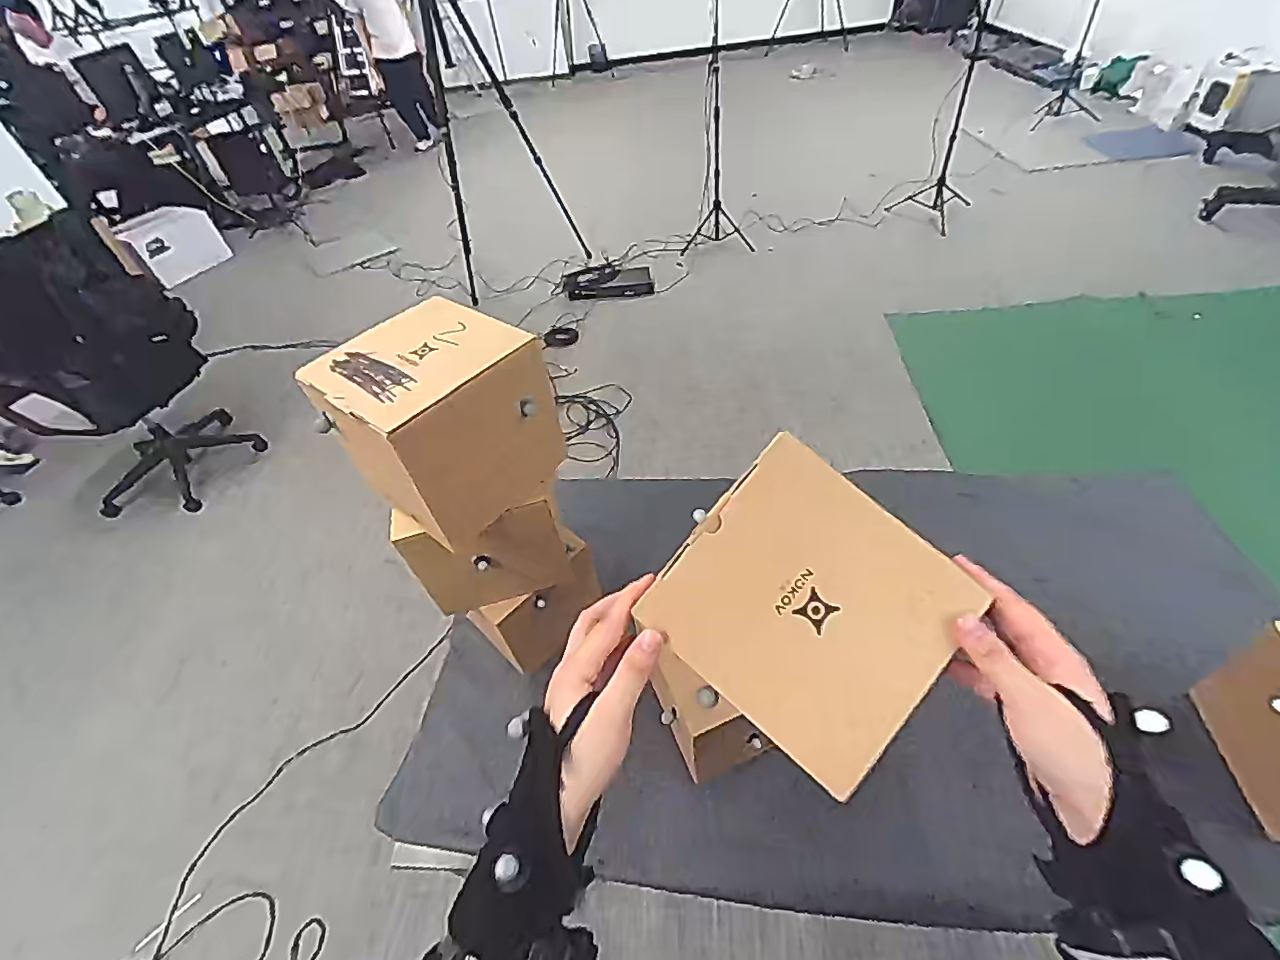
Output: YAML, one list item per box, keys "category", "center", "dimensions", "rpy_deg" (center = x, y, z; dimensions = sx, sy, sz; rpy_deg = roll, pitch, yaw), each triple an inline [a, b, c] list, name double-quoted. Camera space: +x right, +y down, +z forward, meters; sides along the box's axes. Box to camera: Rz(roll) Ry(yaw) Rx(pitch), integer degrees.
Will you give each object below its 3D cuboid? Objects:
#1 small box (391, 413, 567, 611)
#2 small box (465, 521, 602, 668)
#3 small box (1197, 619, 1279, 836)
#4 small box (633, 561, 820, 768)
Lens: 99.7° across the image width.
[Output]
- category: "small box"
  center: [-0.200, 0.043, 0.707]
  dimensions: [0.179, 0.176, 0.168]
  rpy_deg: [-16, 47, -6]
- category: "small box"
  center: [-0.182, 0.153, 0.829]
  dimensions: [0.179, 0.176, 0.168]
  rpy_deg: [32, 59, 32]
- category: "small box"
  center: [0.754, 0.272, 0.561]
  dimensions: [0.168, 0.176, 0.179]
  rpy_deg: [3, 44, 14]
- category: "small box"
  center: [0.105, 0.243, 0.697]
  dimensions: [0.168, 0.176, 0.179]
  rpy_deg: [-20, 46, -11]
